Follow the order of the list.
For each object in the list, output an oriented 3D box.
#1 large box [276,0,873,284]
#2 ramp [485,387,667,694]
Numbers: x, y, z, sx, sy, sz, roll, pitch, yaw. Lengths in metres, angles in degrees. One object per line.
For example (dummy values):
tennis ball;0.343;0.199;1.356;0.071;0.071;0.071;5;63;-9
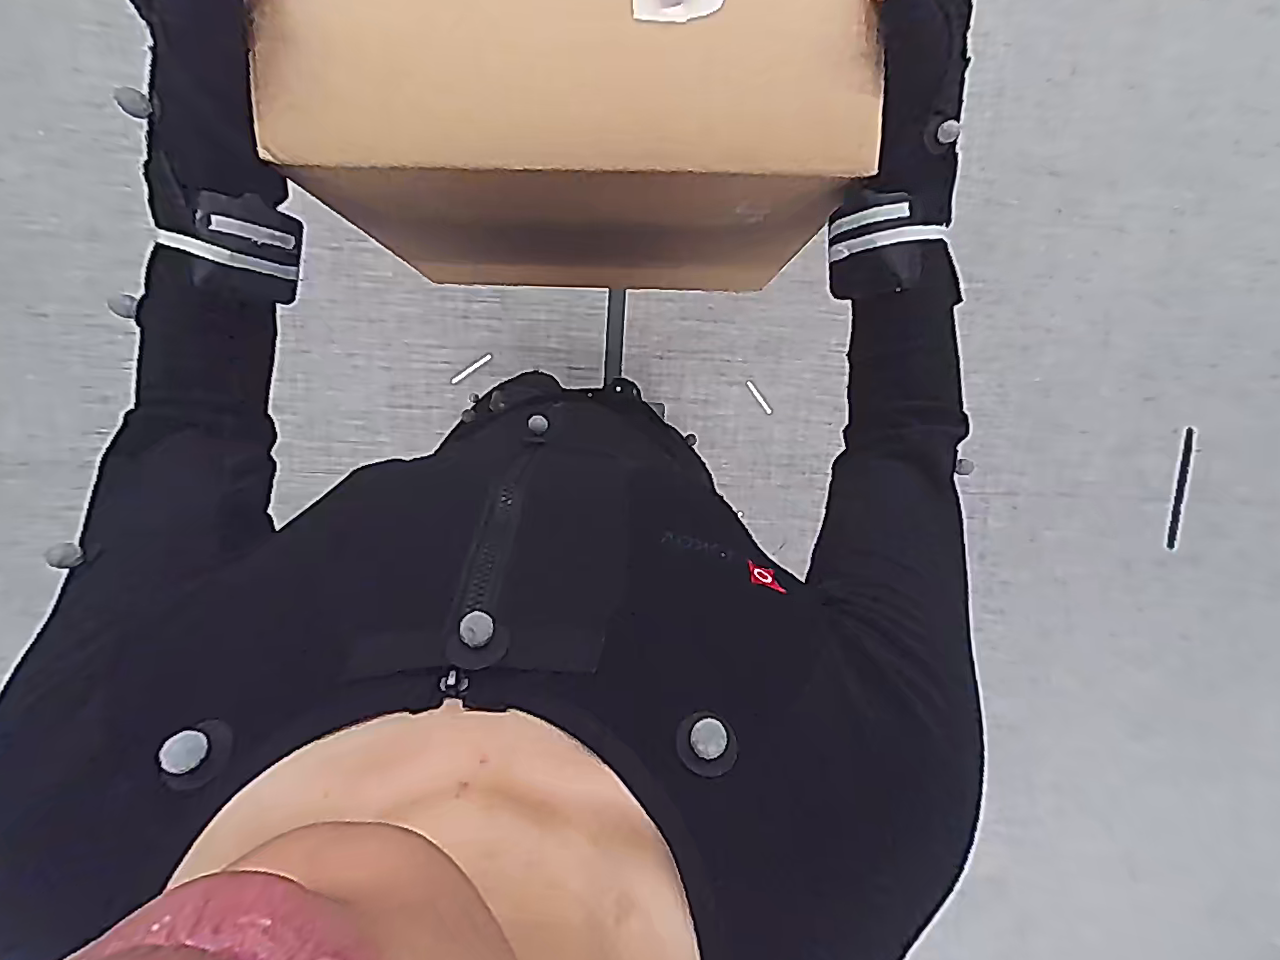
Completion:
large box;-0.045;-0.381;0.503;0.408;0.320;0.320;0;96;-2
ramp;-0.187;0.228;1.606;0.509;0.206;0.991;0;99;-3
